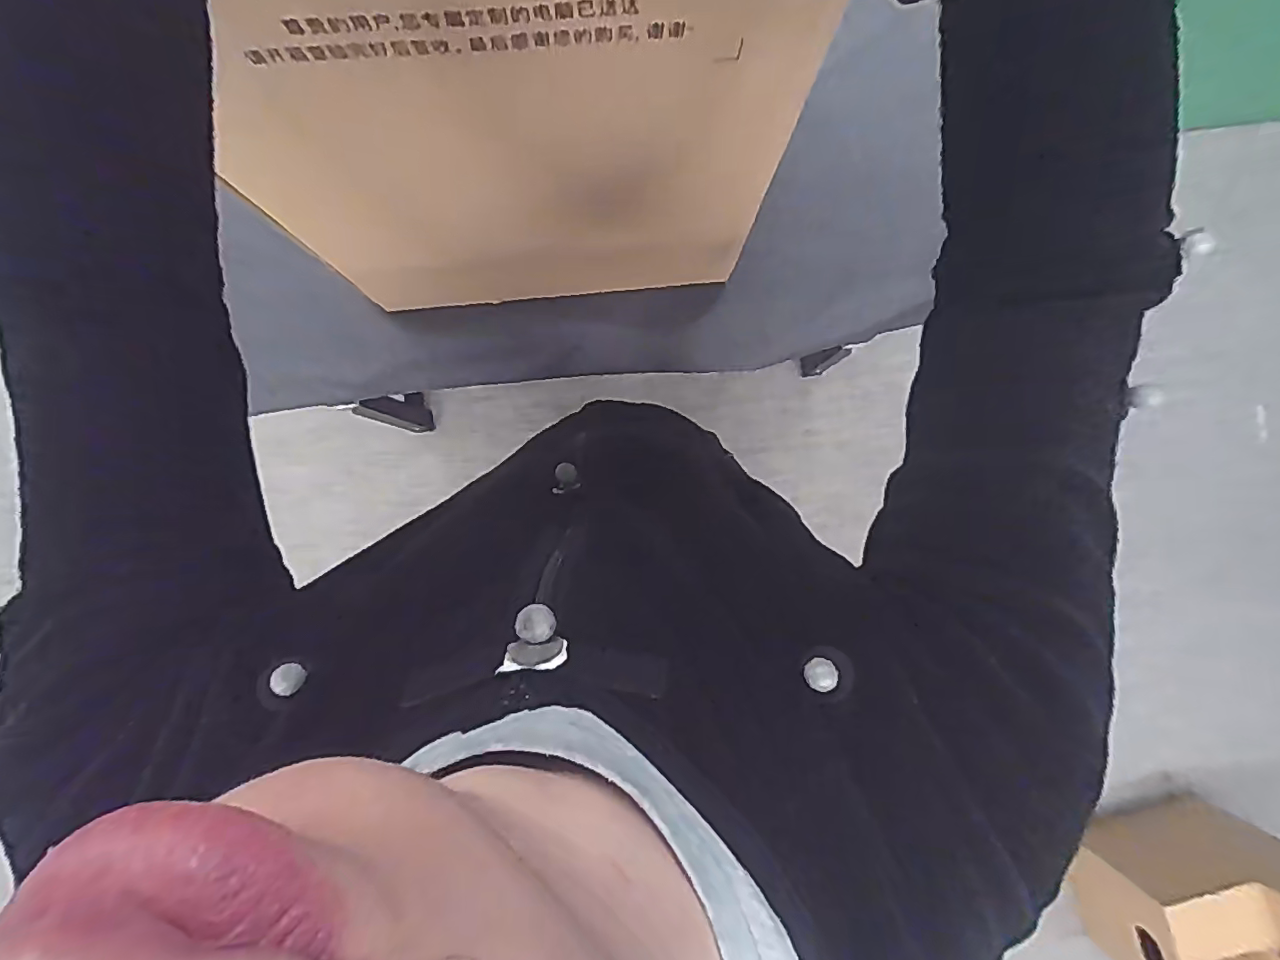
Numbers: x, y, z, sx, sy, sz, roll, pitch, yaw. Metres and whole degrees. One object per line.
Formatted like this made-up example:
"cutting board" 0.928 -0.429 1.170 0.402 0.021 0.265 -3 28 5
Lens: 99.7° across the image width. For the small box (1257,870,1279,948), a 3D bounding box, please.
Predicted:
"small box" 1.495 0.962 1.144 0.168 0.176 0.179 -12 85 -1
